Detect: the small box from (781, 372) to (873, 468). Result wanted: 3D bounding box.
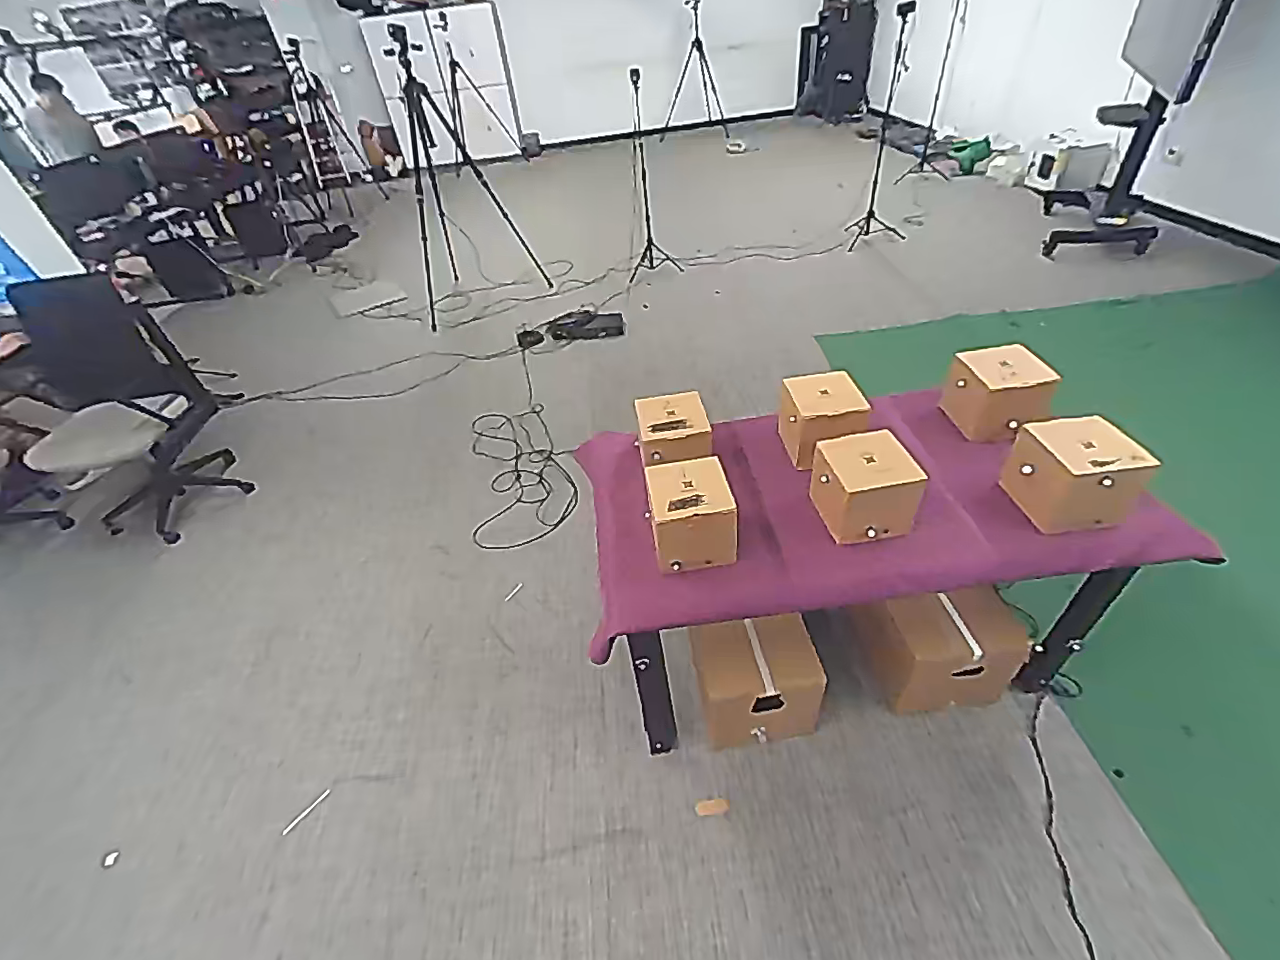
[{"bbox_3d":[0.468,-0.153,1.384,0.168,0.176,0.179,-8,42,0],"label":"small box"}]

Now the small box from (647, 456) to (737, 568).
[{"bbox_3d":[0.114,0.075,1.180,0.168,0.176,0.179,-9,40,-1],"label":"small box"}]

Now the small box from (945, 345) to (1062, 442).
[{"bbox_3d":[0.911,-0.220,1.379,0.168,0.176,0.179,-9,42,3],"label":"small box"}]

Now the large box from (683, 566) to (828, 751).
[{"bbox_3d":[0.329,0.532,1.634,0.320,0.320,0.408,-9,40,-2],"label":"large box"}]

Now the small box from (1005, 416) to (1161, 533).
[{"bbox_3d":[0.917,-0.012,1.143,0.168,0.176,0.179,-8,39,3],"label":"small box"}]

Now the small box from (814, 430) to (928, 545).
[{"bbox_3d":[0.493,0.016,1.187,0.168,0.176,0.179,-10,41,0],"label":"small box"}]
